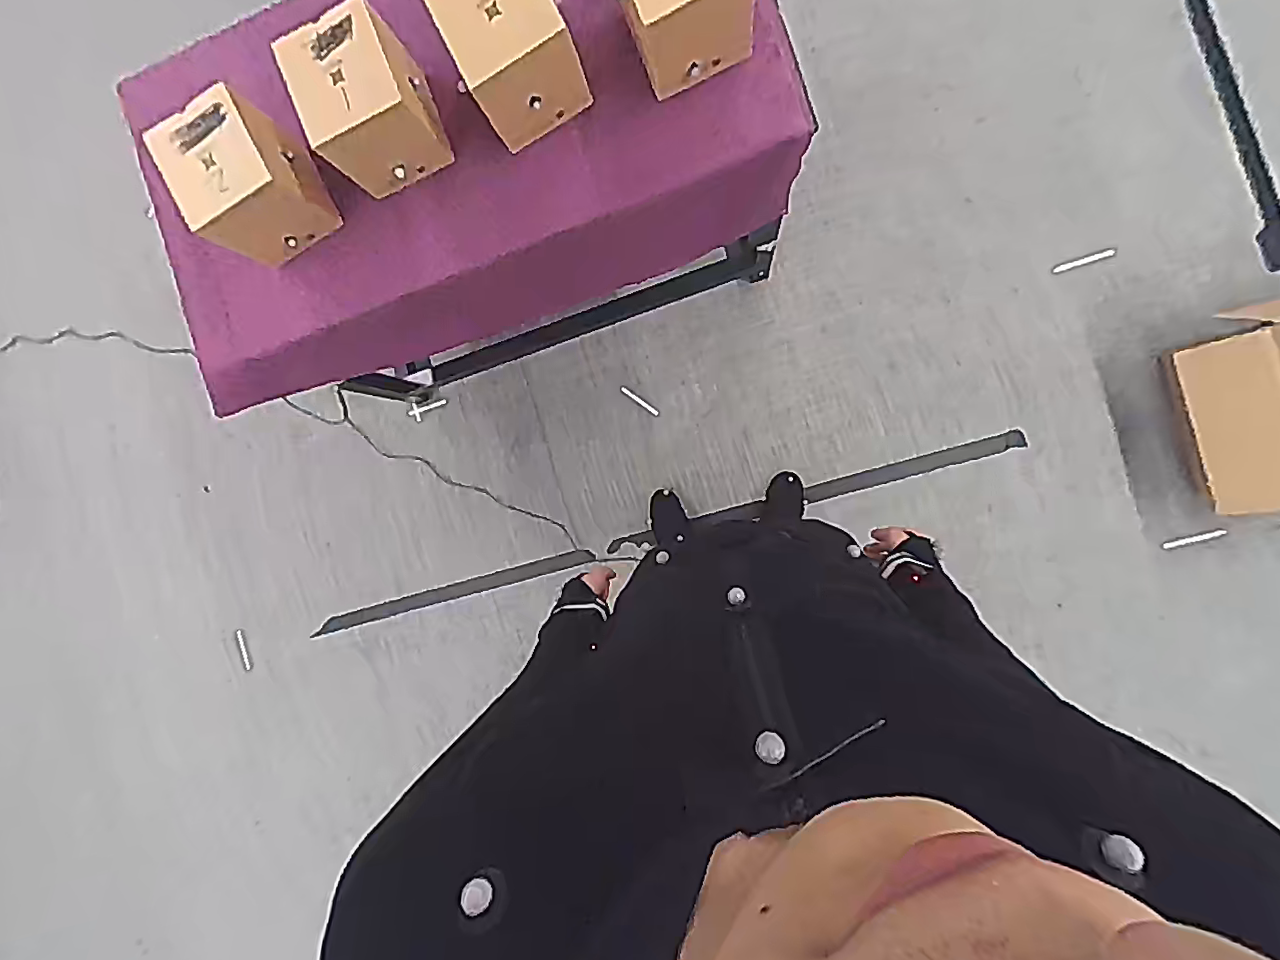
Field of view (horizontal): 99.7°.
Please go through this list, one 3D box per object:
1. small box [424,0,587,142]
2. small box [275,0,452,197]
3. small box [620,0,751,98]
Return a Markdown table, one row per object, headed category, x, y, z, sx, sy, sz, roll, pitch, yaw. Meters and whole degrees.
| category | x | y | z | sx | sy | sz | roll | pitch | yaw |
| --- | --- | --- | --- | --- | --- | --- | --- | --- | --- |
| small box | -0.203 | -0.680 | 0.857 | 0.168 | 0.176 | 0.179 | -27 | 87 | 8 |
| small box | -0.446 | -0.616 | 0.896 | 0.168 | 0.176 | 0.179 | -21 | 89 | 9 |
| small box | 0.060 | -0.739 | 0.816 | 0.168 | 0.176 | 0.179 | -21 | 88 | 9 |
